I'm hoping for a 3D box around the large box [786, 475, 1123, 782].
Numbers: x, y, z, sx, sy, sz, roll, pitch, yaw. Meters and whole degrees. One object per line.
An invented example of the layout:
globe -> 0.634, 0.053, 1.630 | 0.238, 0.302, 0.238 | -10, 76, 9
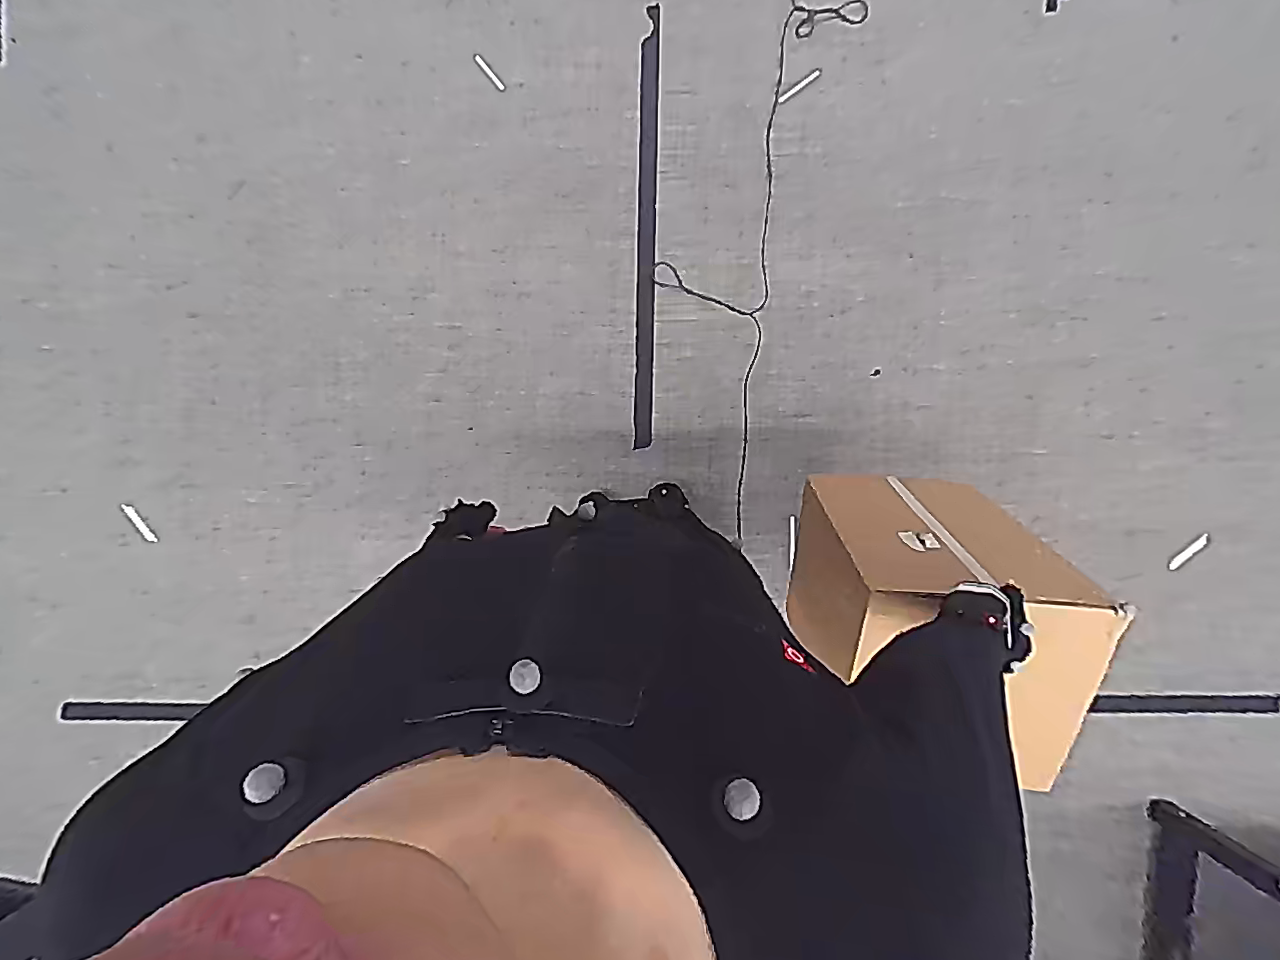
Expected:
large box -> 0.459, 0.218, 0.920 | 0.320, 0.408, 0.320 | 3, 114, 3
